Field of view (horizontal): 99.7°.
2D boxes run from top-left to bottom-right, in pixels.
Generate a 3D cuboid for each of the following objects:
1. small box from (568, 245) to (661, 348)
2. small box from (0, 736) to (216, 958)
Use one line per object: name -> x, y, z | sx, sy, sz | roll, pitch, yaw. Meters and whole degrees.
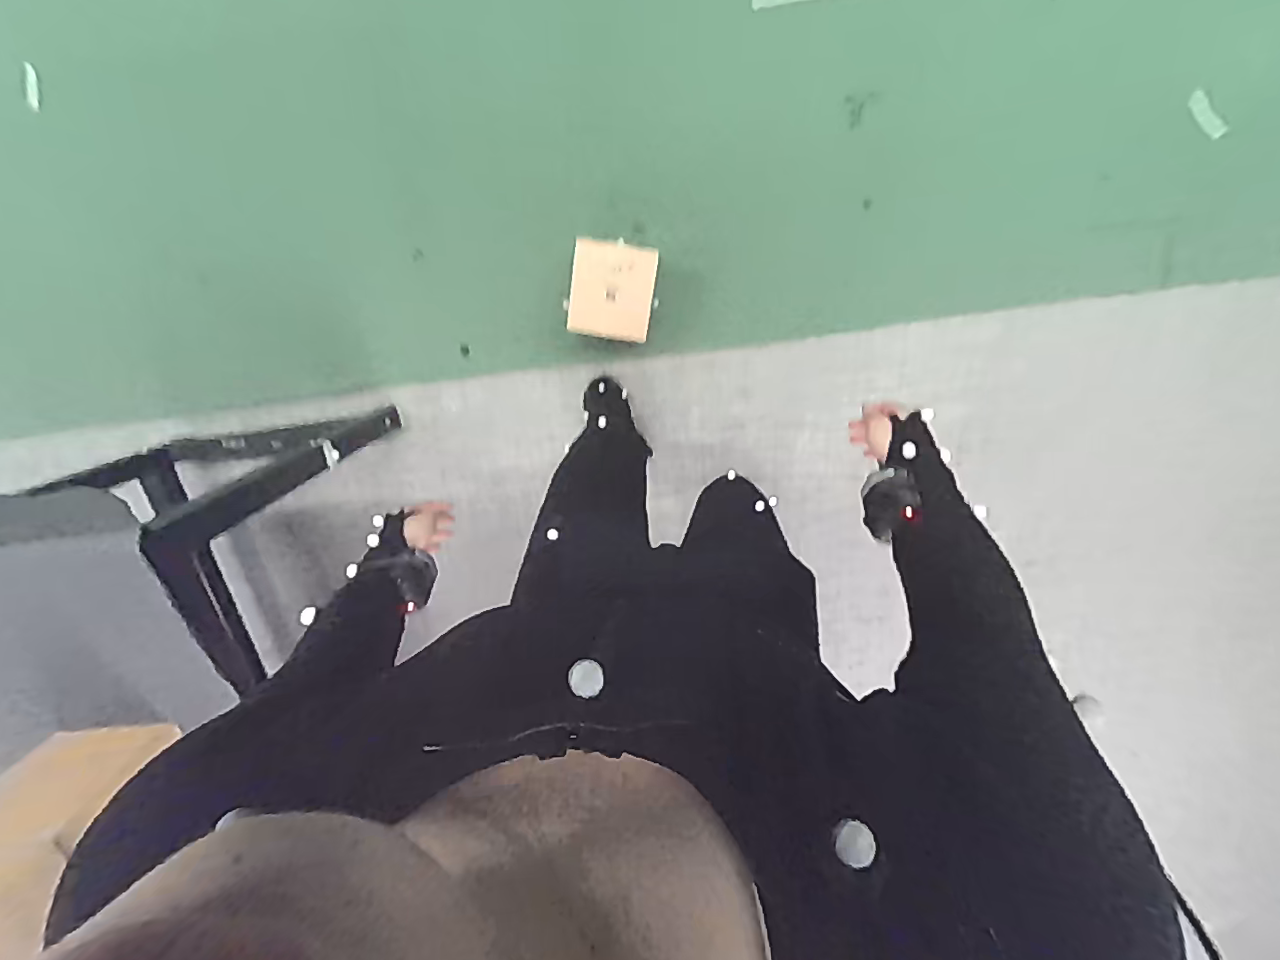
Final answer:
small box -> -0.053, -0.390, 1.152 | 0.168, 0.176, 0.179 | 8, 109, -4
small box -> -0.684, 0.447, 0.677 | 0.179, 0.176, 0.168 | -7, 110, 4
